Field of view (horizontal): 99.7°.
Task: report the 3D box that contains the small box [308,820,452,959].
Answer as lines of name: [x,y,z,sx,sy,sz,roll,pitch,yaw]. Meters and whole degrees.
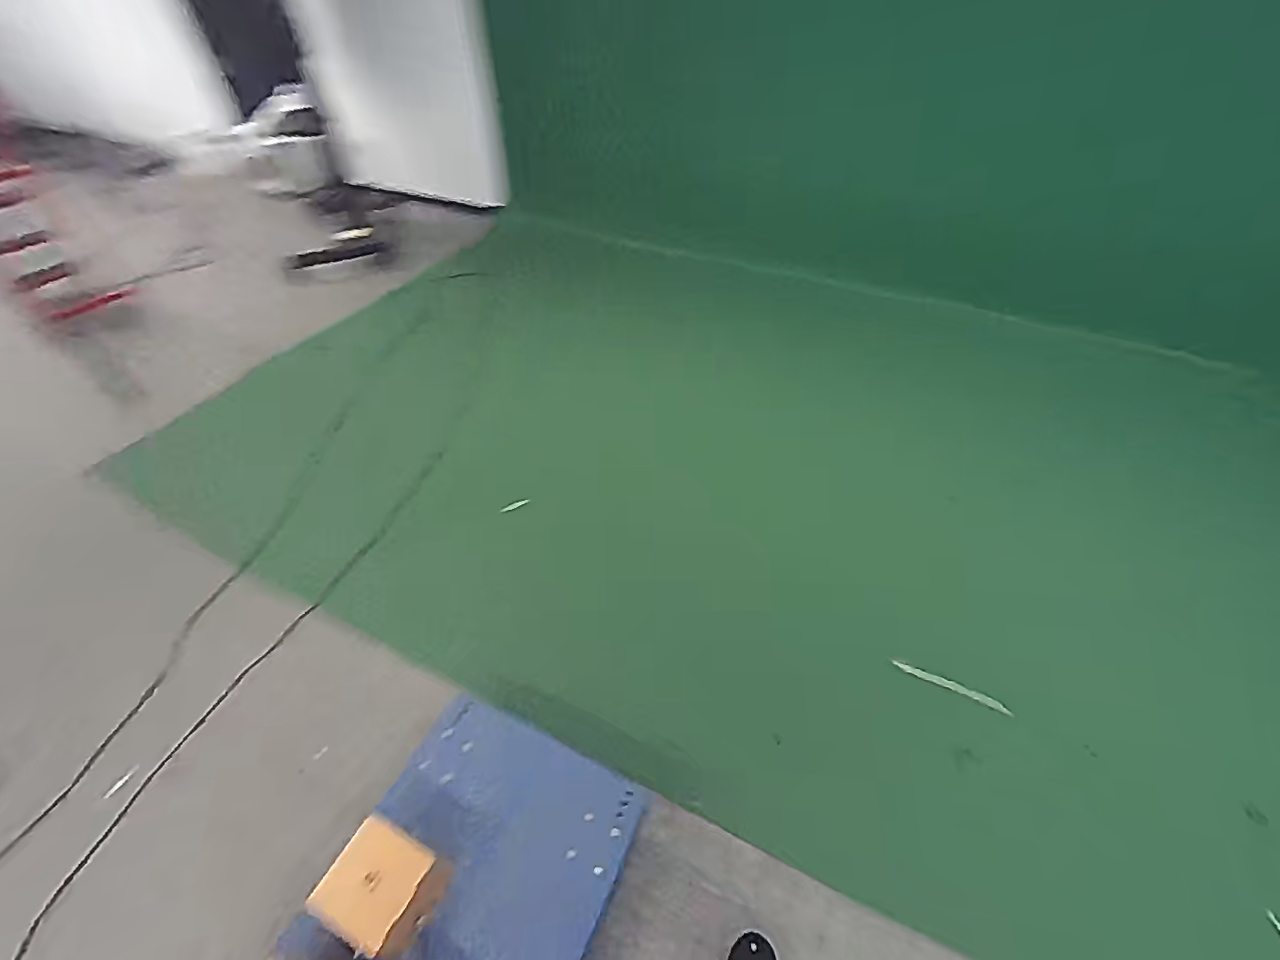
small box: [-0.516,0.837,1.099,0.179,0.176,0.168,20,50,17]
